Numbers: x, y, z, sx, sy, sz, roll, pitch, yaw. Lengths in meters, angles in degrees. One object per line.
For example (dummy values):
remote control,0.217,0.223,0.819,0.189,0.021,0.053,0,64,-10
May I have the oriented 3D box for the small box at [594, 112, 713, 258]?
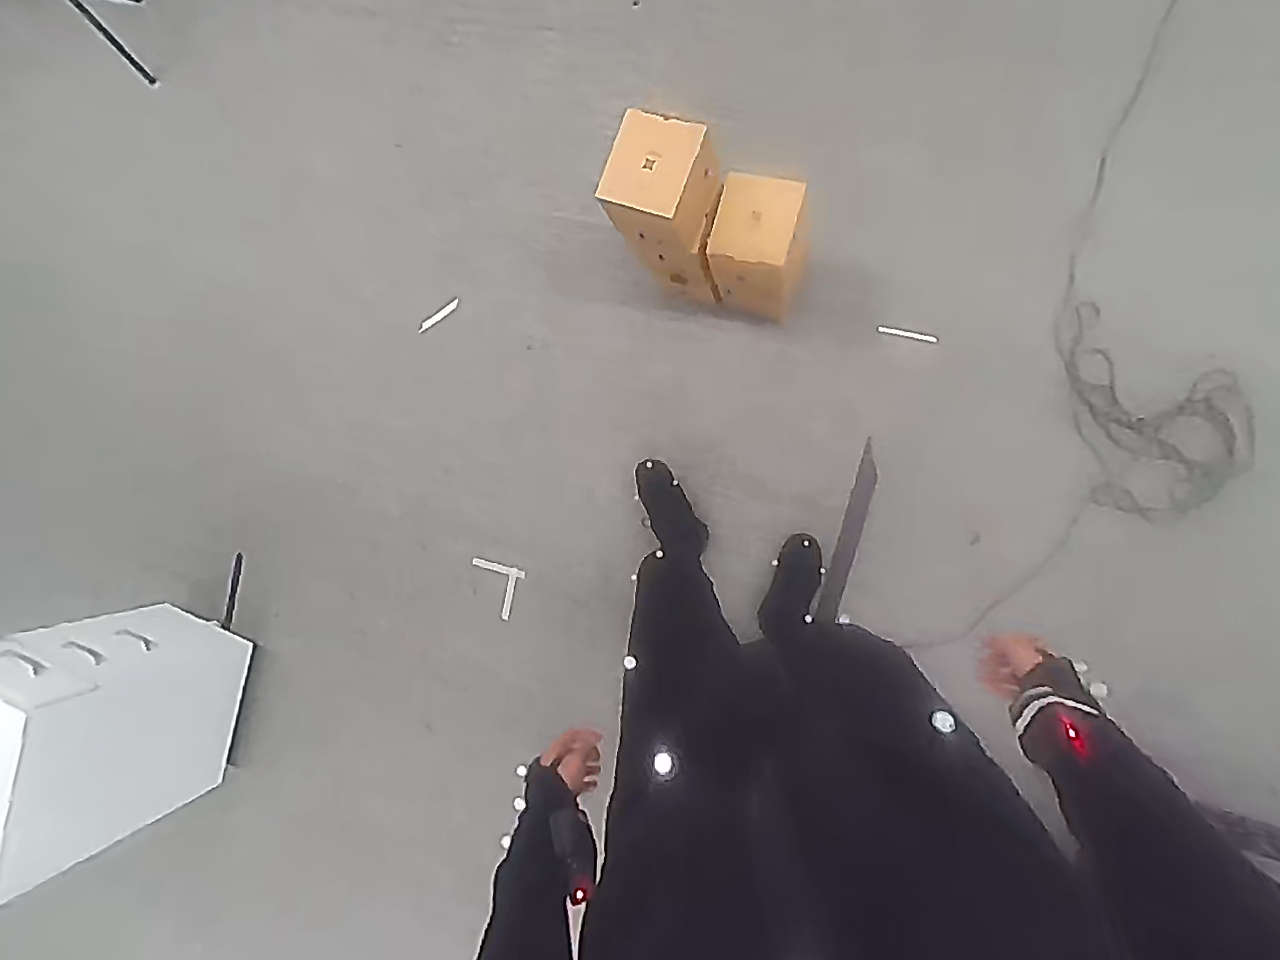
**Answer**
small box,0.036,-0.575,1.072,0.168,0.176,0.179,23,95,14
